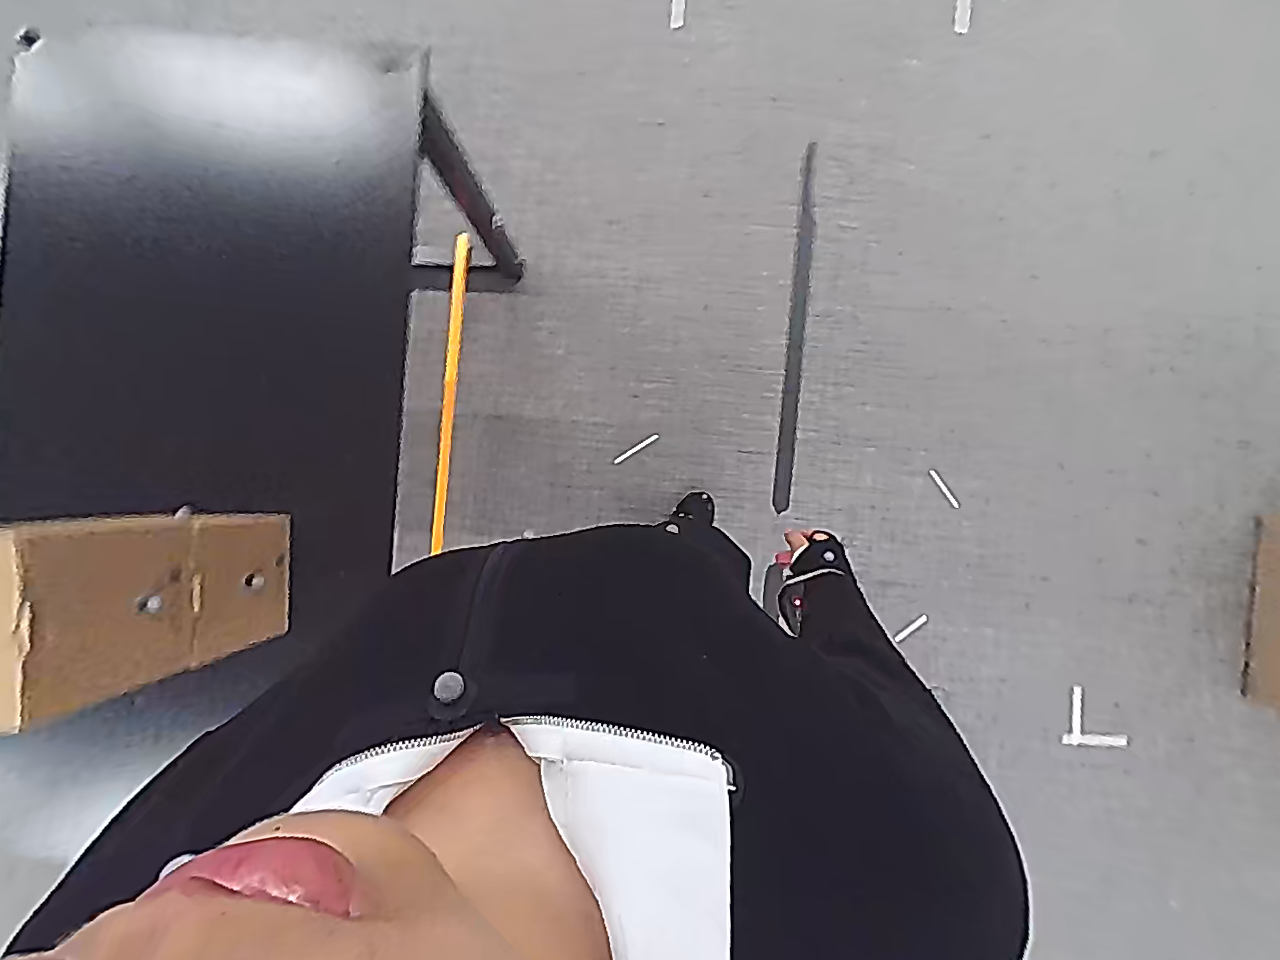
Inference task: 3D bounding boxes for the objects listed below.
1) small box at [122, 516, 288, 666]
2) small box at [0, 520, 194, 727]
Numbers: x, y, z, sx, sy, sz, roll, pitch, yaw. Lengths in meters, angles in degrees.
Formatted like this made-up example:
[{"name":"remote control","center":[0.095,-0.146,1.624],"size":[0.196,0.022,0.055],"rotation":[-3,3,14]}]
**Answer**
[{"name":"small box","center":[-0.590,0.133,0.700],"size":[0.179,0.176,0.168],"rotation":[0,89,0]},{"name":"small box","center":[-0.596,0.127,0.534],"size":[0.179,0.176,0.168],"rotation":[-2,89,1]}]
